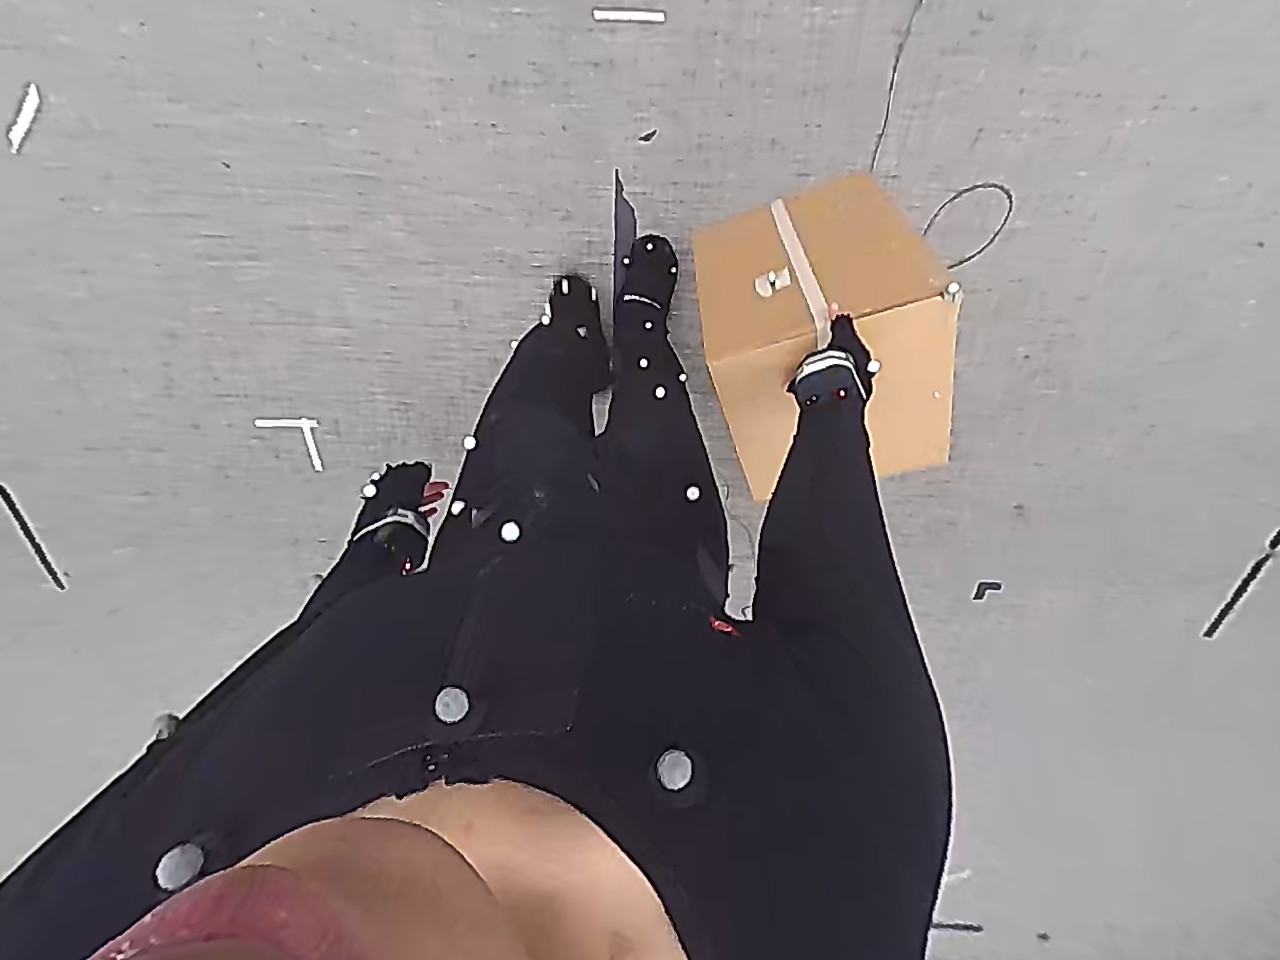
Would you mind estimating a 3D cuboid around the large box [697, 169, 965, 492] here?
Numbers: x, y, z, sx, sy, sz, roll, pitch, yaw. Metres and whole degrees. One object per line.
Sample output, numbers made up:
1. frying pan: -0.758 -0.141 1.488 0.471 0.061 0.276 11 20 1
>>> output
1. large box: 0.300 -0.249 0.927 0.320 0.408 0.320 -14 139 16
